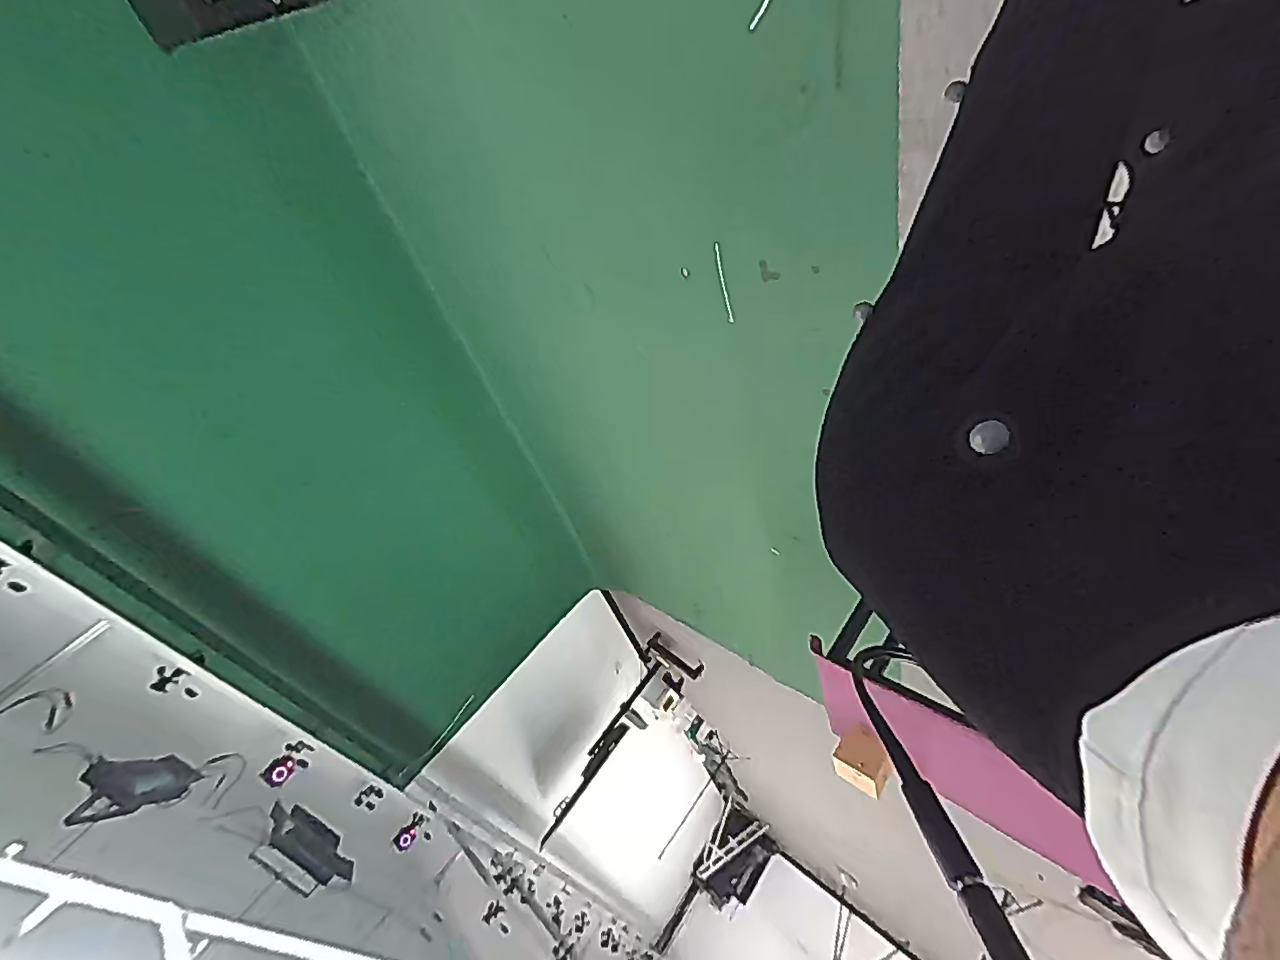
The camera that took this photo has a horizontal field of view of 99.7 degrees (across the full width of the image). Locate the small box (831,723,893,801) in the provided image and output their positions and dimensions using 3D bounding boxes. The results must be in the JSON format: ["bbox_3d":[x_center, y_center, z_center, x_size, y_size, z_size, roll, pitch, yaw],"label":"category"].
[{"bbox_3d":[0.857,1.077,2.076,0.168,0.176,0.179,17,143,42],"label":"small box"}]
